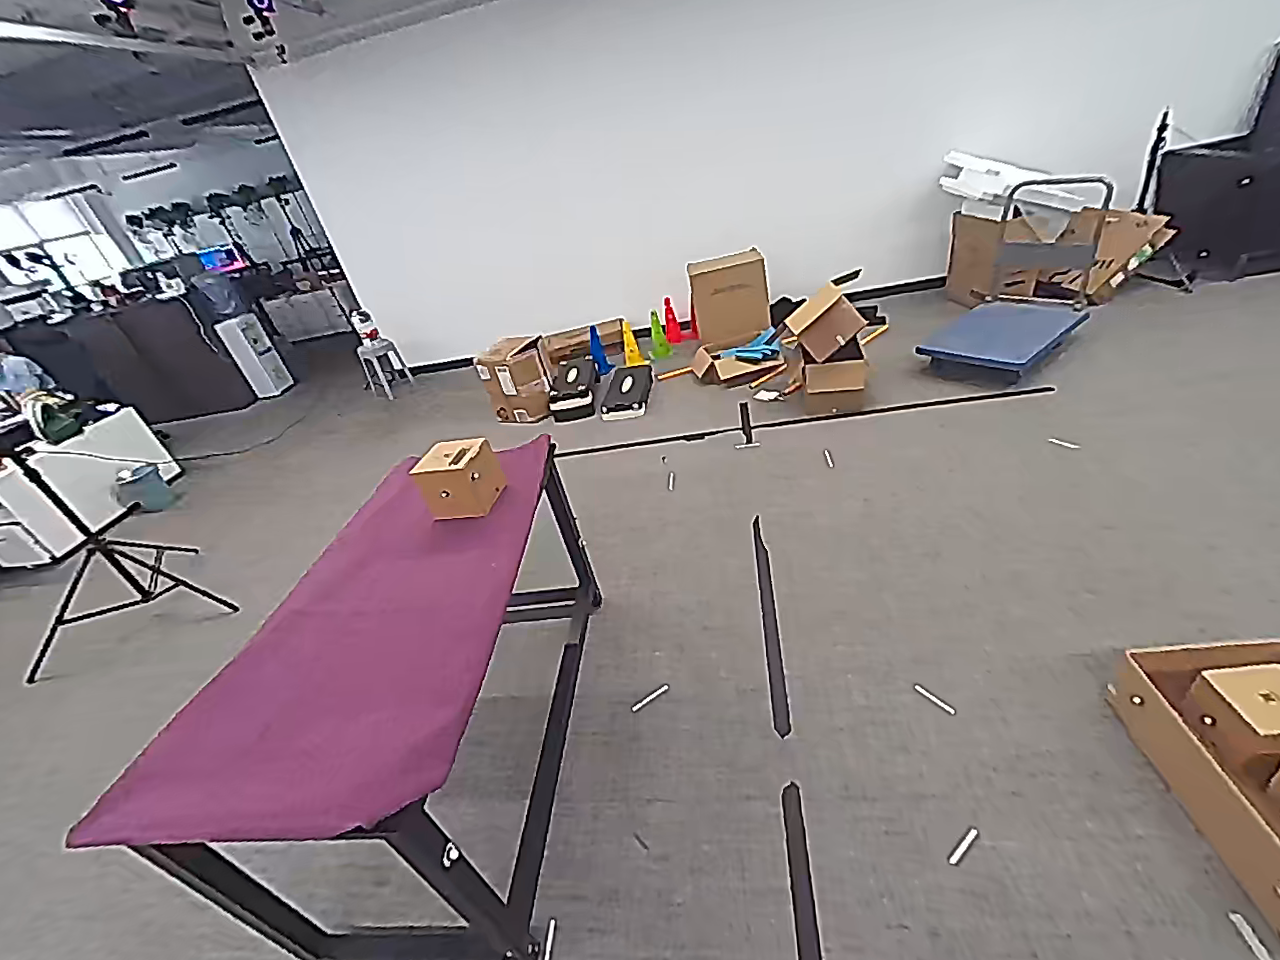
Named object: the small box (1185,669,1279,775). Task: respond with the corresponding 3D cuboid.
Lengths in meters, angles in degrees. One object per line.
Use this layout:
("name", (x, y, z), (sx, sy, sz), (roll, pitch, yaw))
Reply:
("small box", (1.448, 0.571, 1.272), (0.179, 0.176, 0.168), (-8, 34, 8))

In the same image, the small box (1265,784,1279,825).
("small box", (1.452, 0.691, 1.090), (0.179, 0.176, 0.168), (-5, 33, 14))
